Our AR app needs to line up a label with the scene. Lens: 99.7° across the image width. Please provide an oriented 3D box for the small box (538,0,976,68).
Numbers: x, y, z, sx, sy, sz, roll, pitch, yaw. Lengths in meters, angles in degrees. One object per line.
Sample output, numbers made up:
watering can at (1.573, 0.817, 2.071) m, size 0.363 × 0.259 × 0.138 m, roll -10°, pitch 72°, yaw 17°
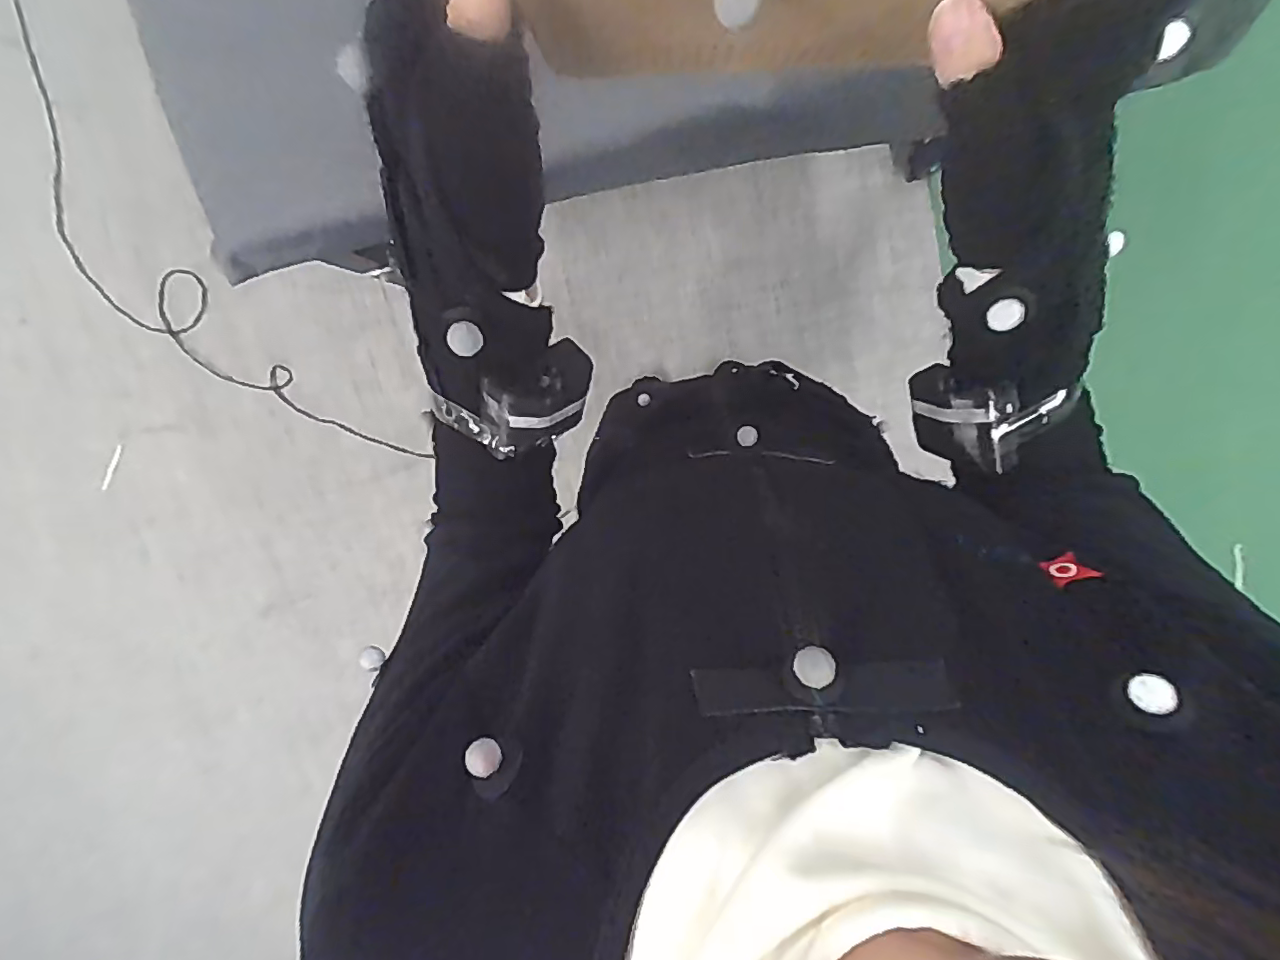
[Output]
small box at (0.043, -0.237, 0.146) m, size 0.179 × 0.176 × 0.168 m, roll 0°, pitch 112°, yaw 3°
